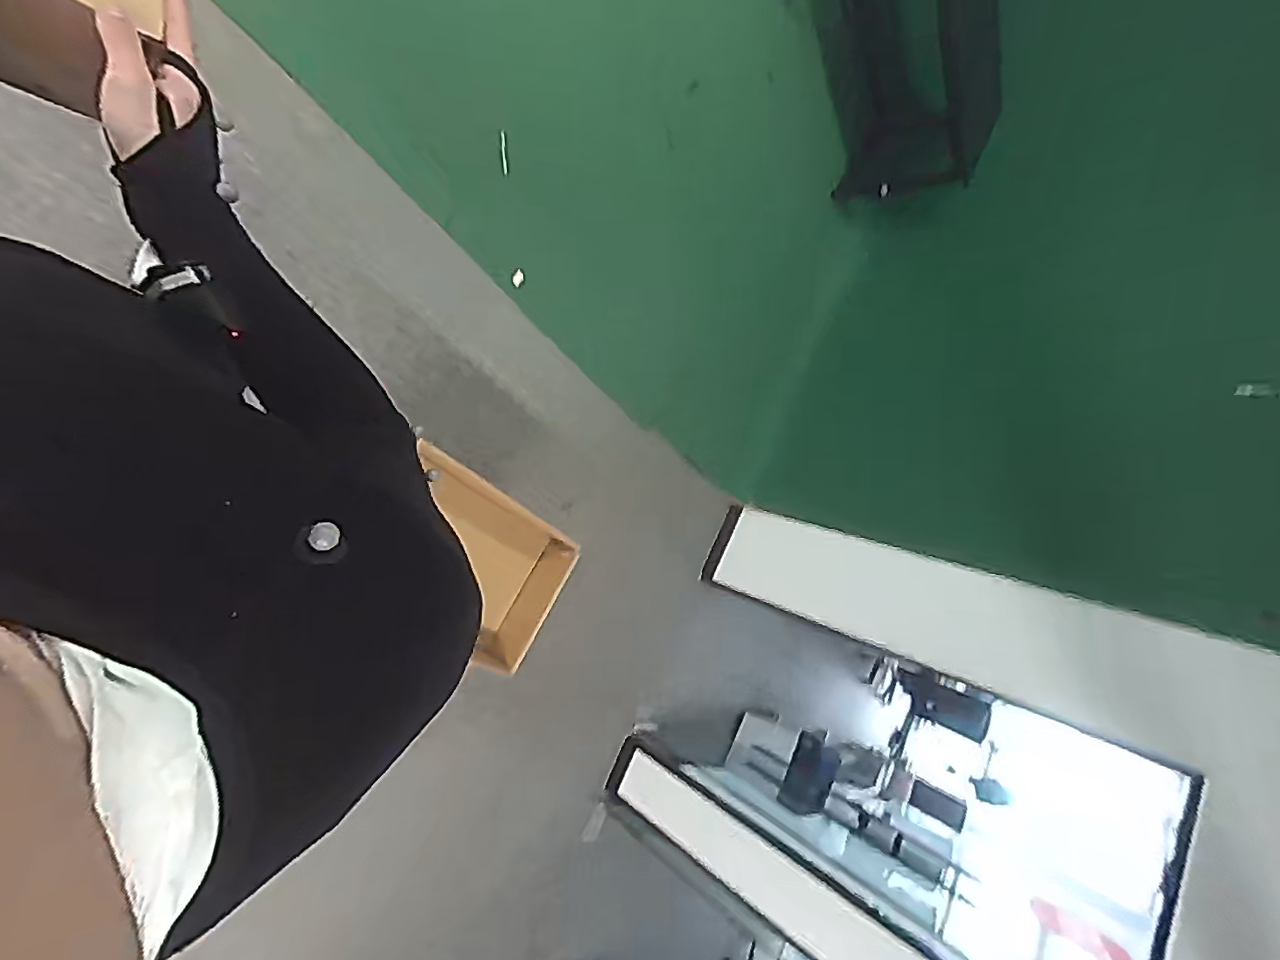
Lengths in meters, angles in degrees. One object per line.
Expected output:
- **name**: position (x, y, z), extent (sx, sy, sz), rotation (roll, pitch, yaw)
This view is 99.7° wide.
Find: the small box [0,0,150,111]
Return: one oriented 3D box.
- **small box**: position (-0.473, -0.421, 0.394), extent (0.168, 0.176, 0.179), rotation (3, 89, -49)
